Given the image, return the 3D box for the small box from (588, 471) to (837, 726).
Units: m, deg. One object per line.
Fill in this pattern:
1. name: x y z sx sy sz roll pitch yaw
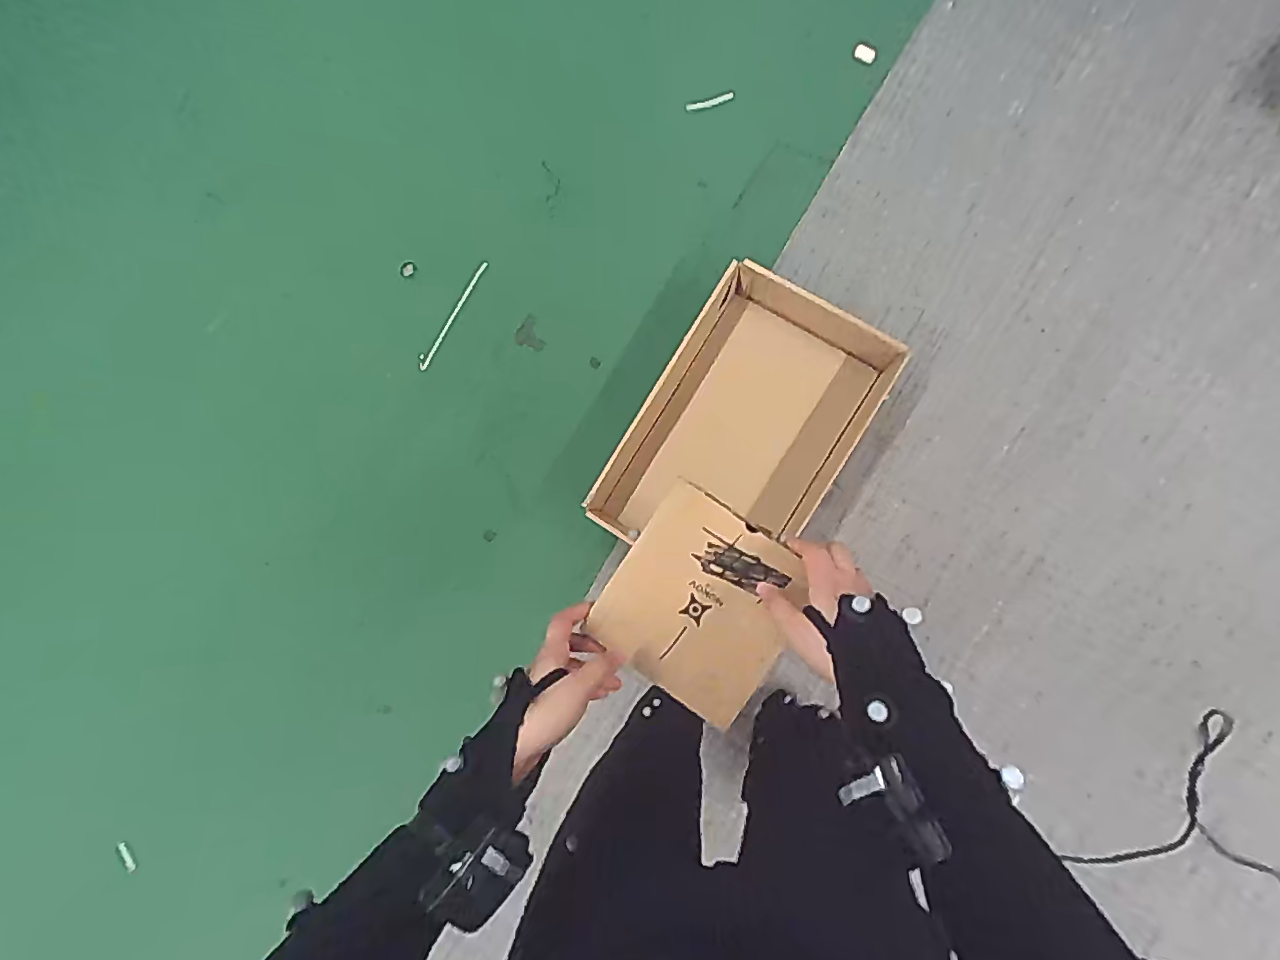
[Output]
1. small box: 0.071 0.109 0.569 0.168 0.176 0.179 34 92 7
